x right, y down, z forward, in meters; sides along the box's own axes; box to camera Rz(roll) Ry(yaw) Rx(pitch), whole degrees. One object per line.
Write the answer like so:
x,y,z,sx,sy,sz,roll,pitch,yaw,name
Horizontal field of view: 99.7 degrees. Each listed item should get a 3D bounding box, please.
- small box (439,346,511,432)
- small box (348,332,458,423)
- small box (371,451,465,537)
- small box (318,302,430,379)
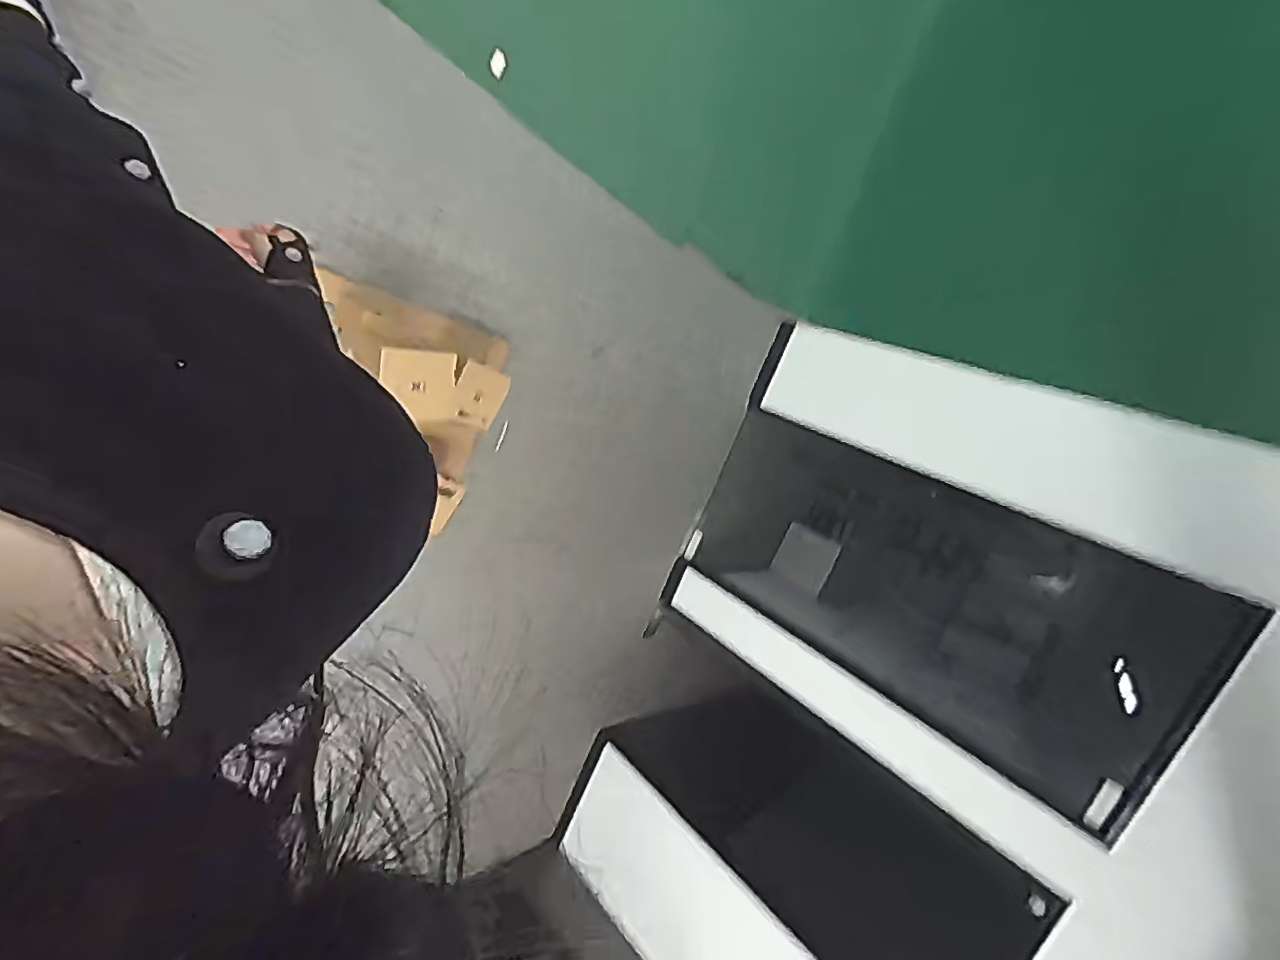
-0.519,-0.268,1.583,0.168,0.176,0.179,22,97,-54,small box
-0.561,-0.241,1.276,0.179,0.176,0.168,-6,119,-47,small box
-0.669,0.038,1.617,0.179,0.176,0.168,-55,144,-2,small box
-0.673,-0.329,1.361,0.179,0.176,0.168,20,100,-53,small box
